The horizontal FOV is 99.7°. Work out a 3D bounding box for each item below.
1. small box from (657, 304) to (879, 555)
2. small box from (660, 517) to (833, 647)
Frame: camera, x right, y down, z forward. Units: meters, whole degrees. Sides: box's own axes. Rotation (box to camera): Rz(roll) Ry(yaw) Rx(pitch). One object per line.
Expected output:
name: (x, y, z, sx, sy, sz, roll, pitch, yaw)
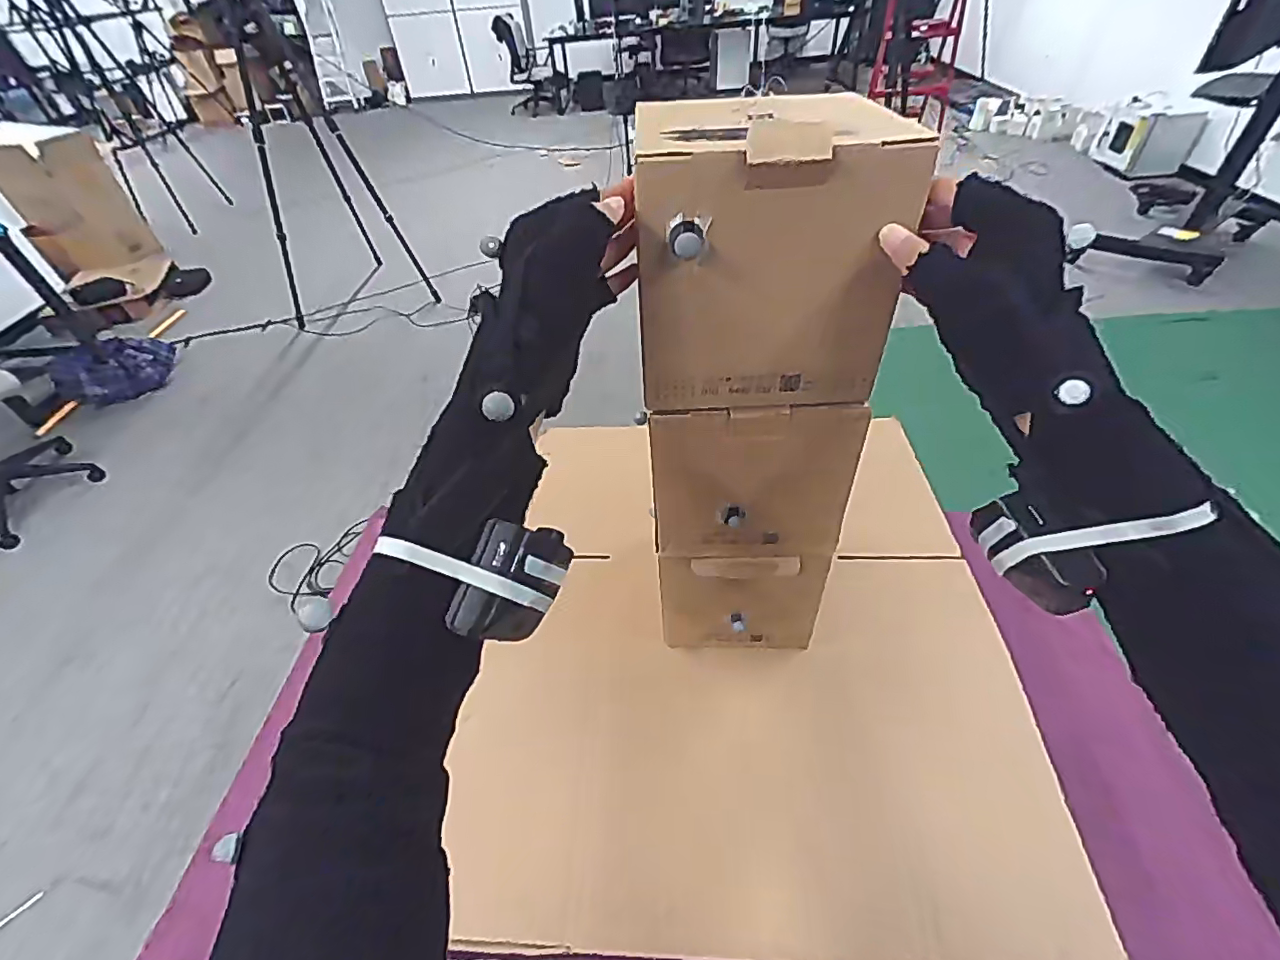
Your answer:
small box: (0.101, -0.050, 0.514, 0.168, 0.176, 0.179, -1, 43, 4)
small box: (0.110, 0.070, 0.625, 0.168, 0.176, 0.179, 0, 44, 5)
